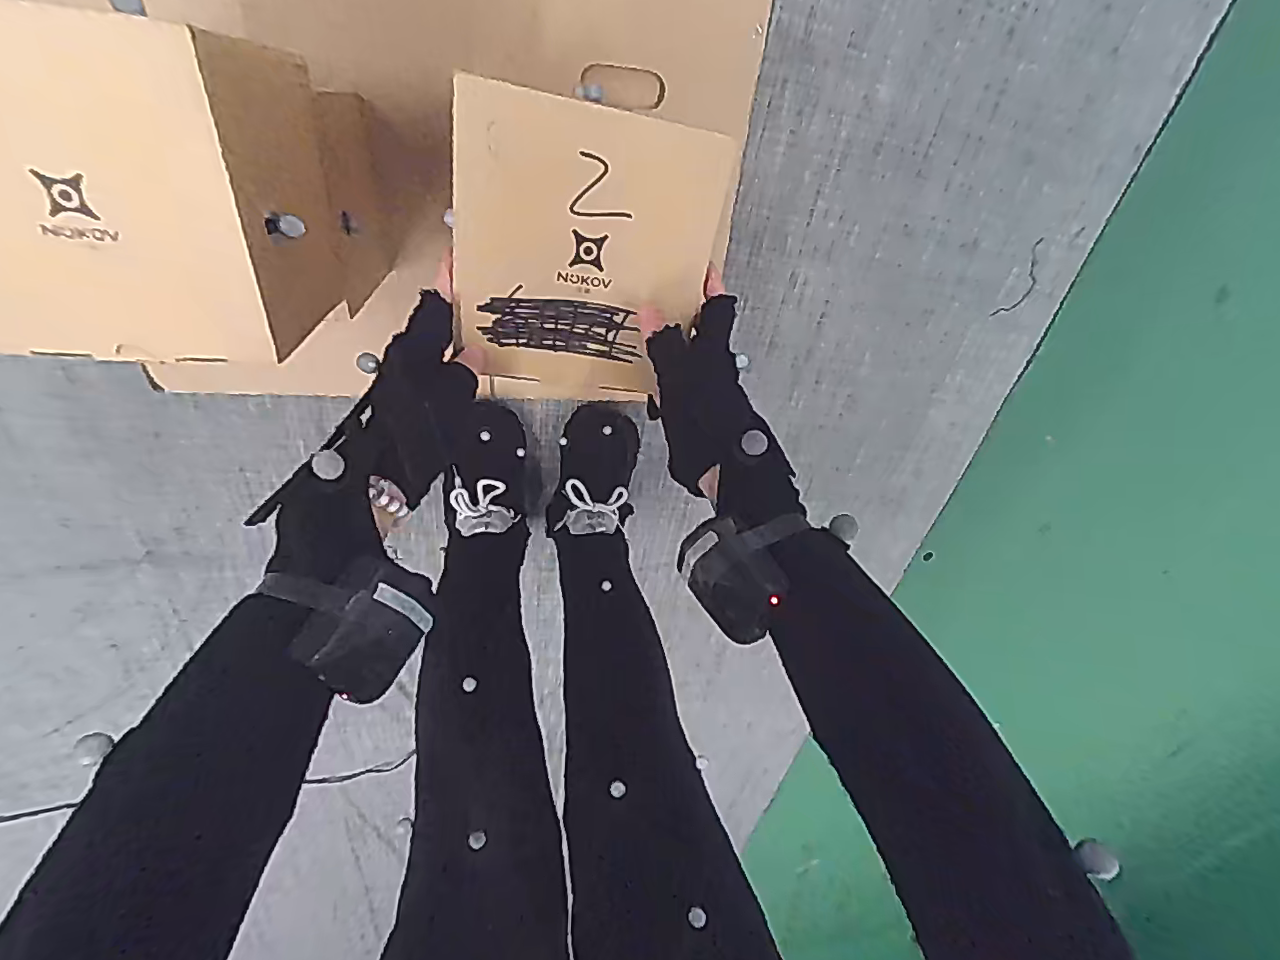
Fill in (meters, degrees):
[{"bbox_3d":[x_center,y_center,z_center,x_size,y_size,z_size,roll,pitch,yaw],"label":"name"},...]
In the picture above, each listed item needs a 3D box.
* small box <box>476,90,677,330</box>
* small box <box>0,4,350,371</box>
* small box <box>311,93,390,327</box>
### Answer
[{"bbox_3d":[-0.075,-0.275,0.553,0.168,0.176,0.179,4,124,-13],"label":"small box"},{"bbox_3d":[-0.312,-0.188,0.358,0.168,0.176,0.179,0,125,-12],"label":"small box"},{"bbox_3d":[-0.348,-0.257,0.504,0.168,0.176,0.179,-3,125,-10],"label":"small box"}]
